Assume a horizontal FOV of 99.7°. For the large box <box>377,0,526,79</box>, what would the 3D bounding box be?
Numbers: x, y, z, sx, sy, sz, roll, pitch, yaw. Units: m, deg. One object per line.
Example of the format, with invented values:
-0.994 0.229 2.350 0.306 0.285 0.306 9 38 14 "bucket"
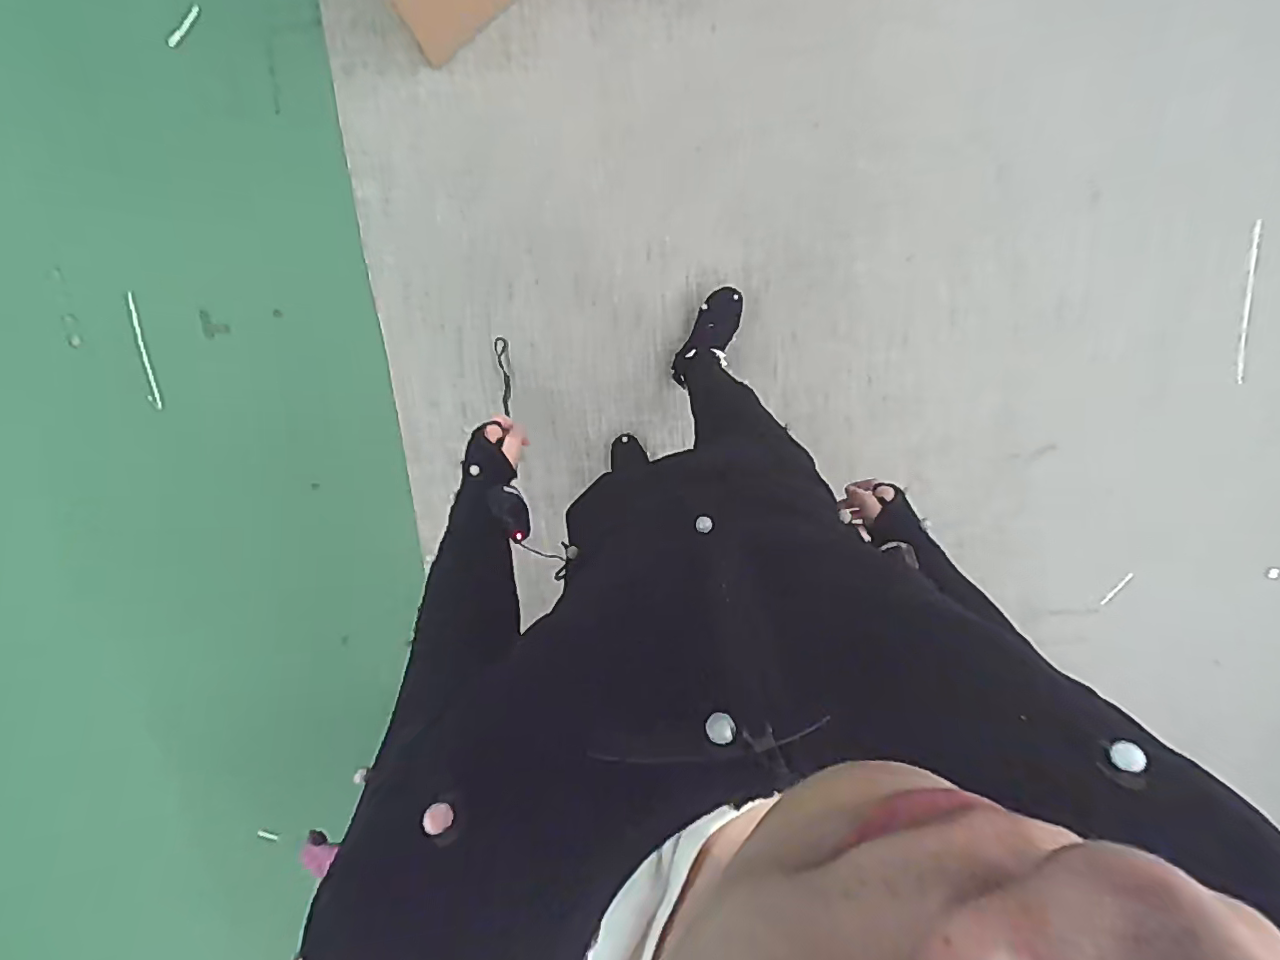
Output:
-0.454 -1.238 1.209 0.408 0.320 0.320 -38 99 6 "large box"
